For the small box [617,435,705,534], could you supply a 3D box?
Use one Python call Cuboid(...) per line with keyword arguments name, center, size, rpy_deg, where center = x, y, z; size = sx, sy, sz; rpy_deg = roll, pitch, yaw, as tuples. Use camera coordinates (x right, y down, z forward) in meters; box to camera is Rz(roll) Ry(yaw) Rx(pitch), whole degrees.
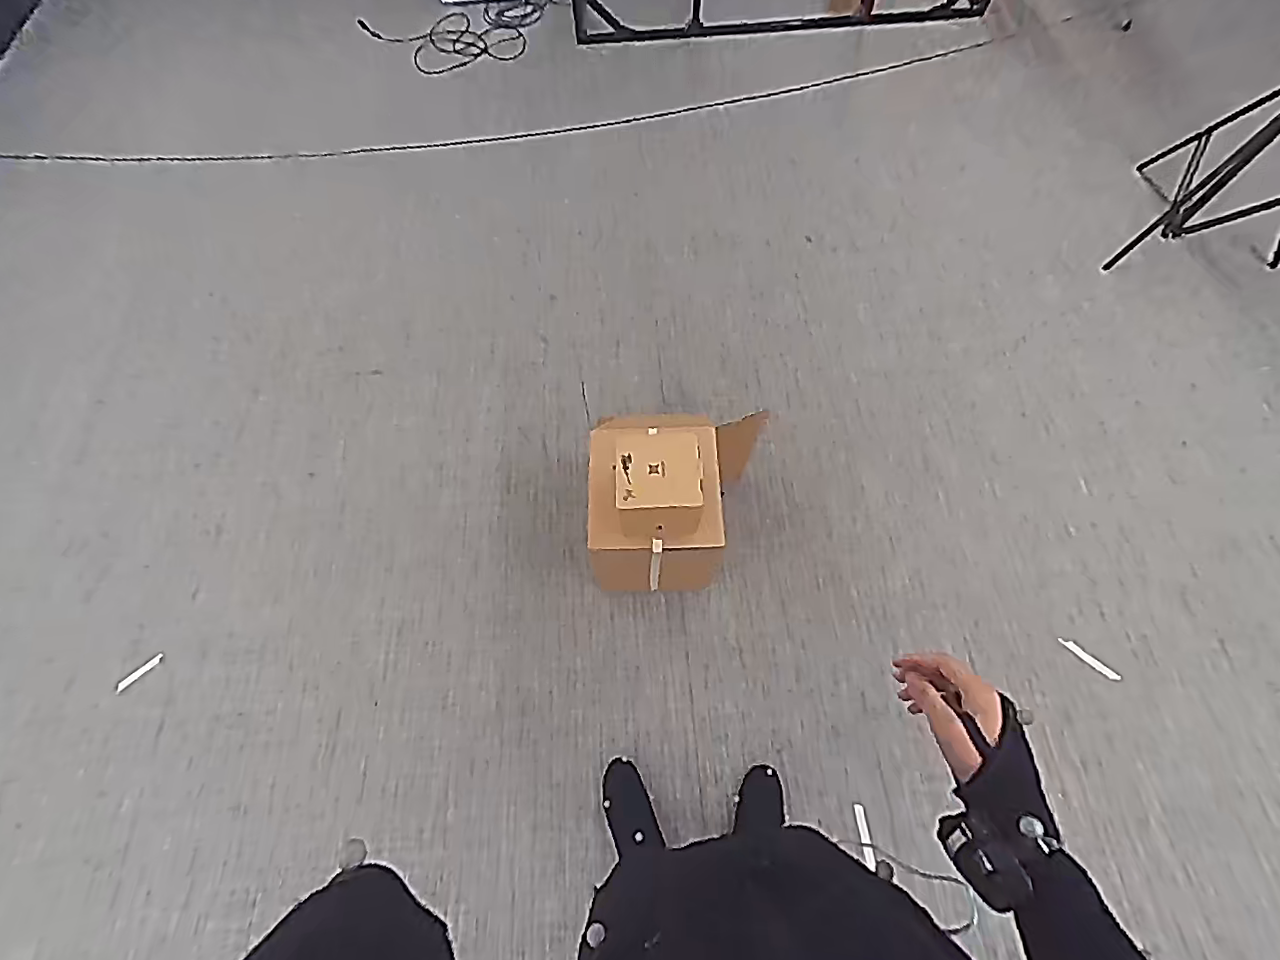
Cuboid(name="small box", center=(0.041, 0.014, 1.163), size=(0.179, 0.176, 0.168), rpy_deg=(-2, 67, 0))
